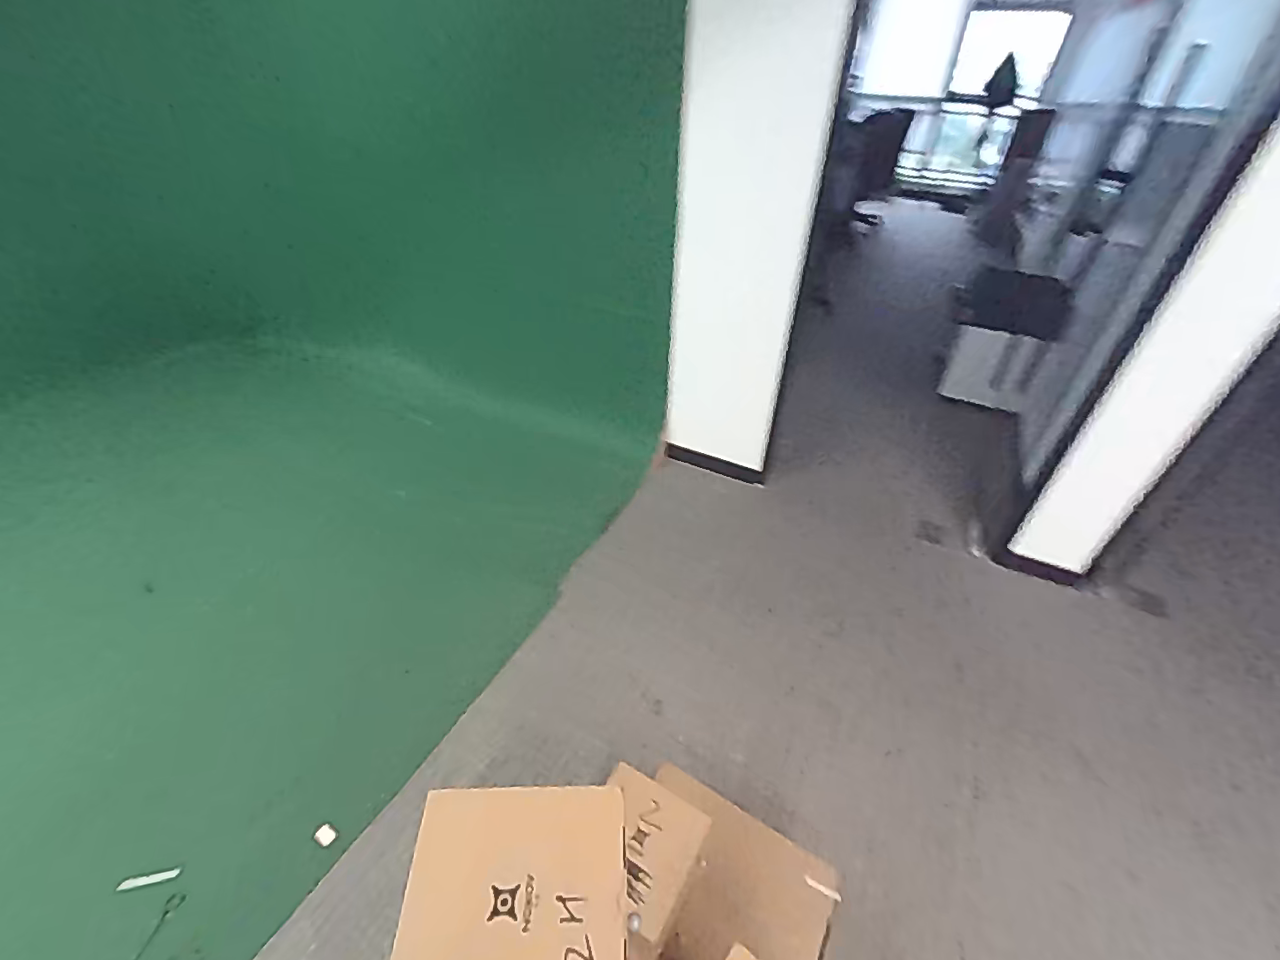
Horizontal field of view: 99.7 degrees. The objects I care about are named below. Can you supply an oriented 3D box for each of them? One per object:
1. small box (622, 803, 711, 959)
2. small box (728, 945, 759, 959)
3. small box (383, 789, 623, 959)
[{"bbox_3d":[0.001,0.716,0.931,0.168,0.176,0.179,24,42,27],"label":"small box"},{"bbox_3d":[0.142,0.729,0.656,0.179,0.176,0.168,26,44,27],"label":"small box"},{"bbox_3d":[-0.104,0.385,0.472,0.179,0.176,0.168,1,46,-3],"label":"small box"}]
